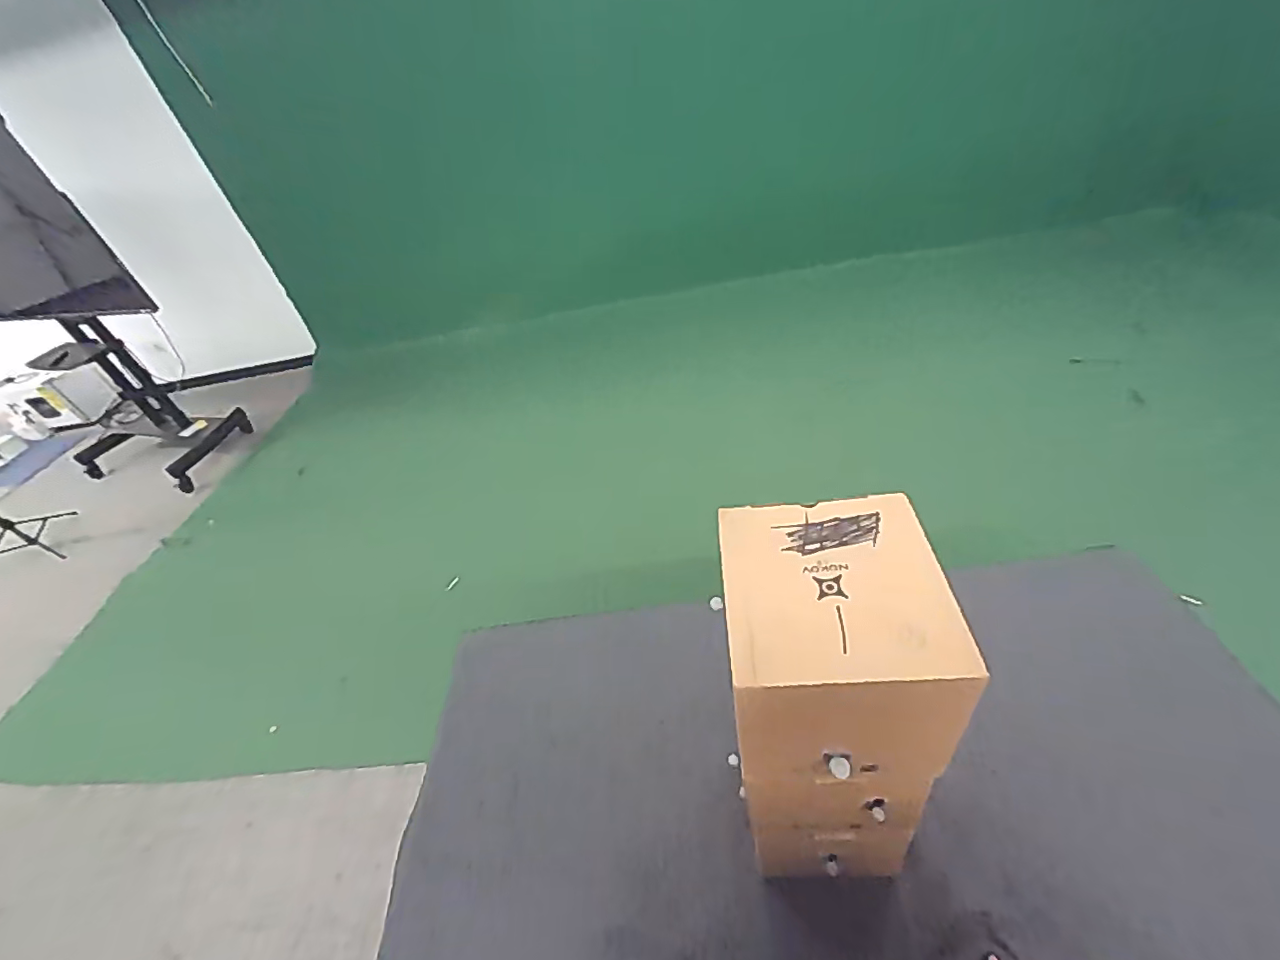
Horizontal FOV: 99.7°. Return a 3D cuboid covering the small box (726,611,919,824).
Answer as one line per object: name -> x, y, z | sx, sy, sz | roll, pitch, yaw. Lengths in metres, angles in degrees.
small box -> 0.188, 0.252, 0.582 | 0.168, 0.176, 0.179 | -7, 40, 8

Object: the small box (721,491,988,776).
small box -> 0.161, 0.134, 0.471 | 0.168, 0.176, 0.179 | -6, 43, 9

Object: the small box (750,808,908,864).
small box -> 0.223, 0.370, 0.688 | 0.168, 0.176, 0.179 | -7, 42, 9
